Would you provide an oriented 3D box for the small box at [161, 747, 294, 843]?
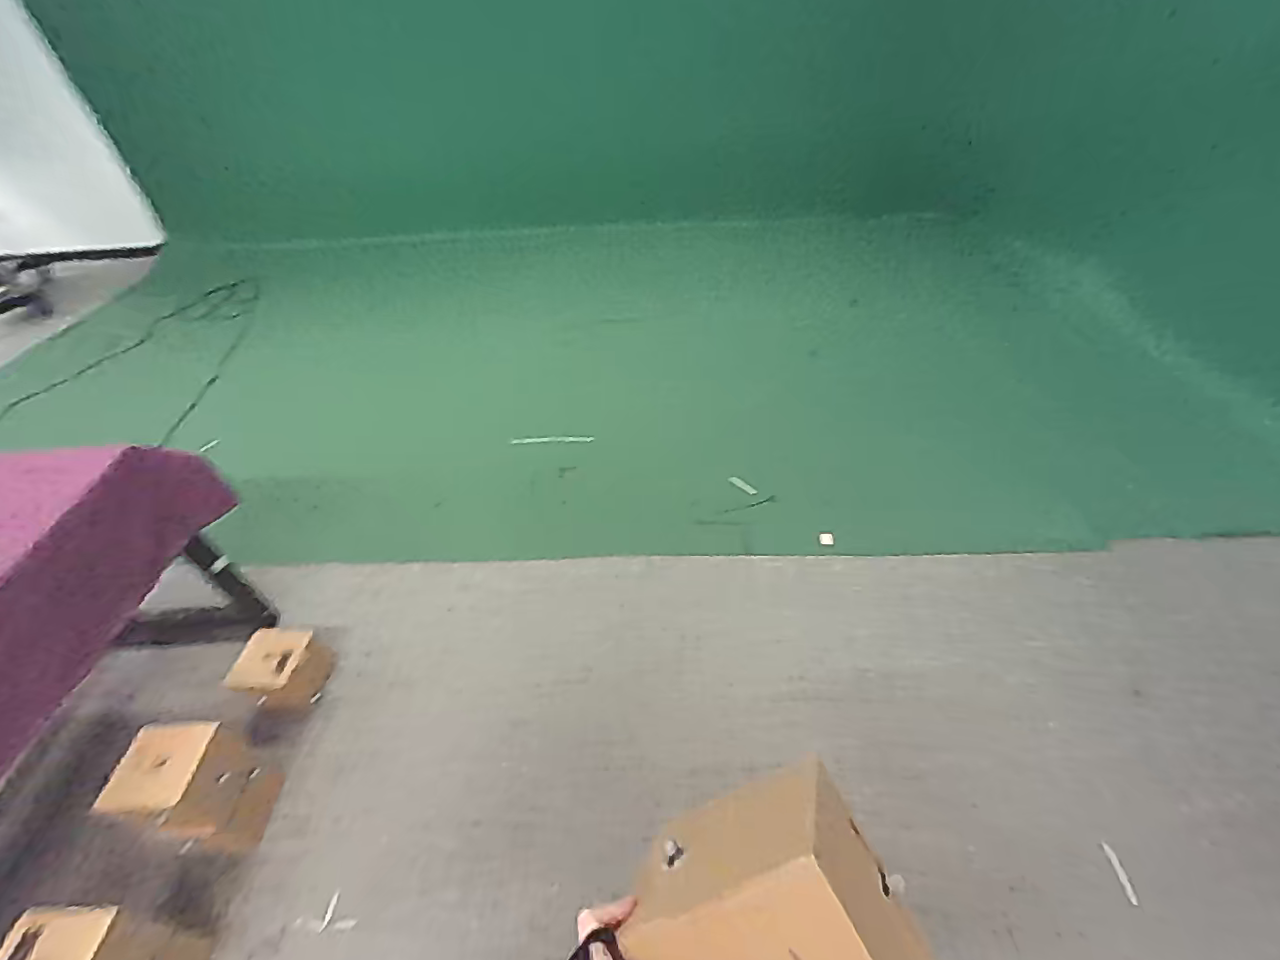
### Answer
[{"bbox_3d":[-1.002,0.782,1.336,0.168,0.176,0.179,-3,44,3],"label":"small box"}]
